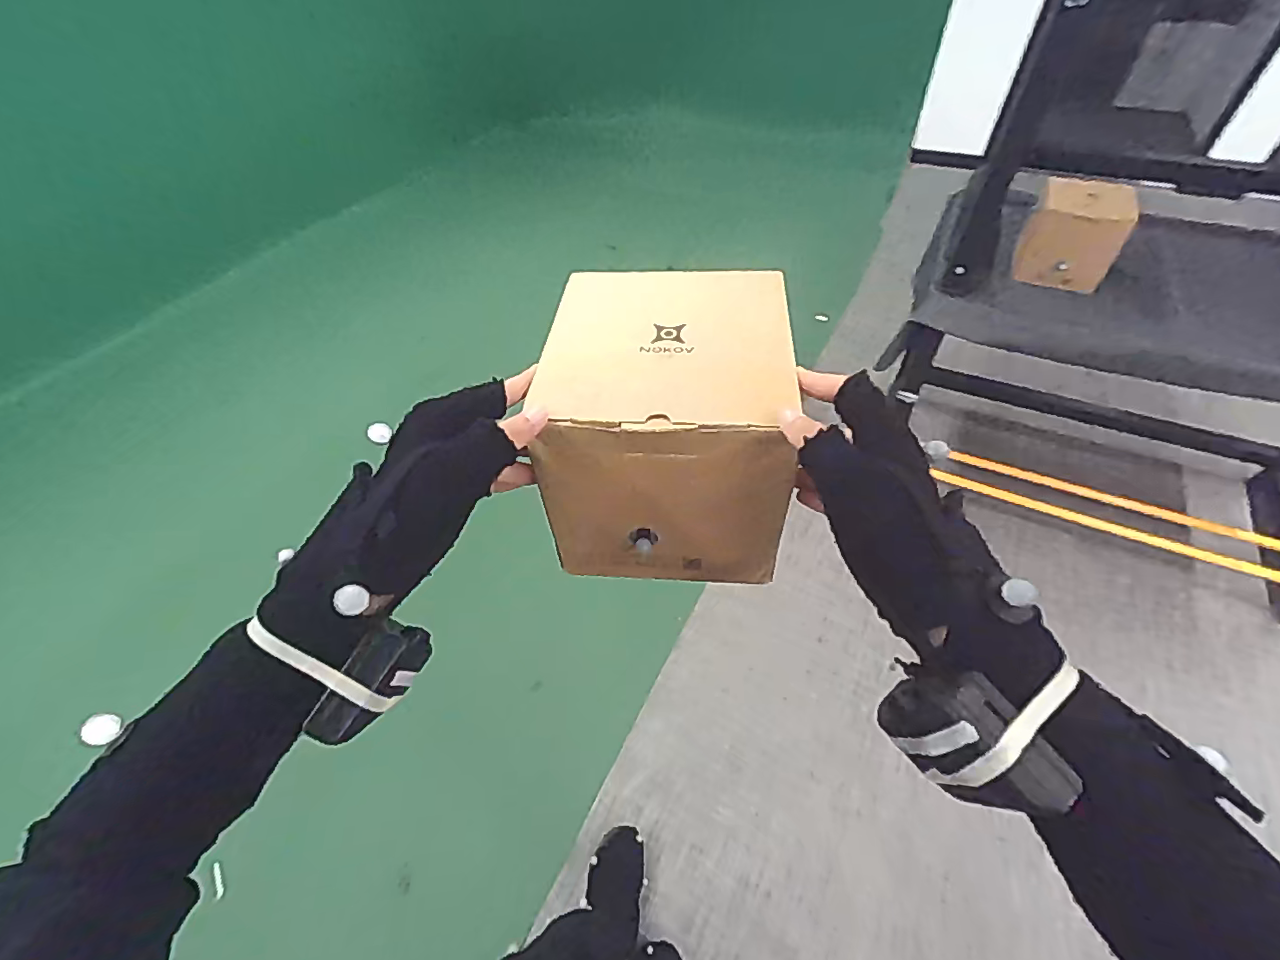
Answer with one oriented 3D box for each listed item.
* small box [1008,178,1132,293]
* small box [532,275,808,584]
[{"bbox_3d":[0.970,-0.558,1.233,0.168,0.176,0.179,19,54,19],"label":"small box"},{"bbox_3d":[0.028,-0.041,0.428,0.168,0.176,0.179,2,49,6],"label":"small box"}]
